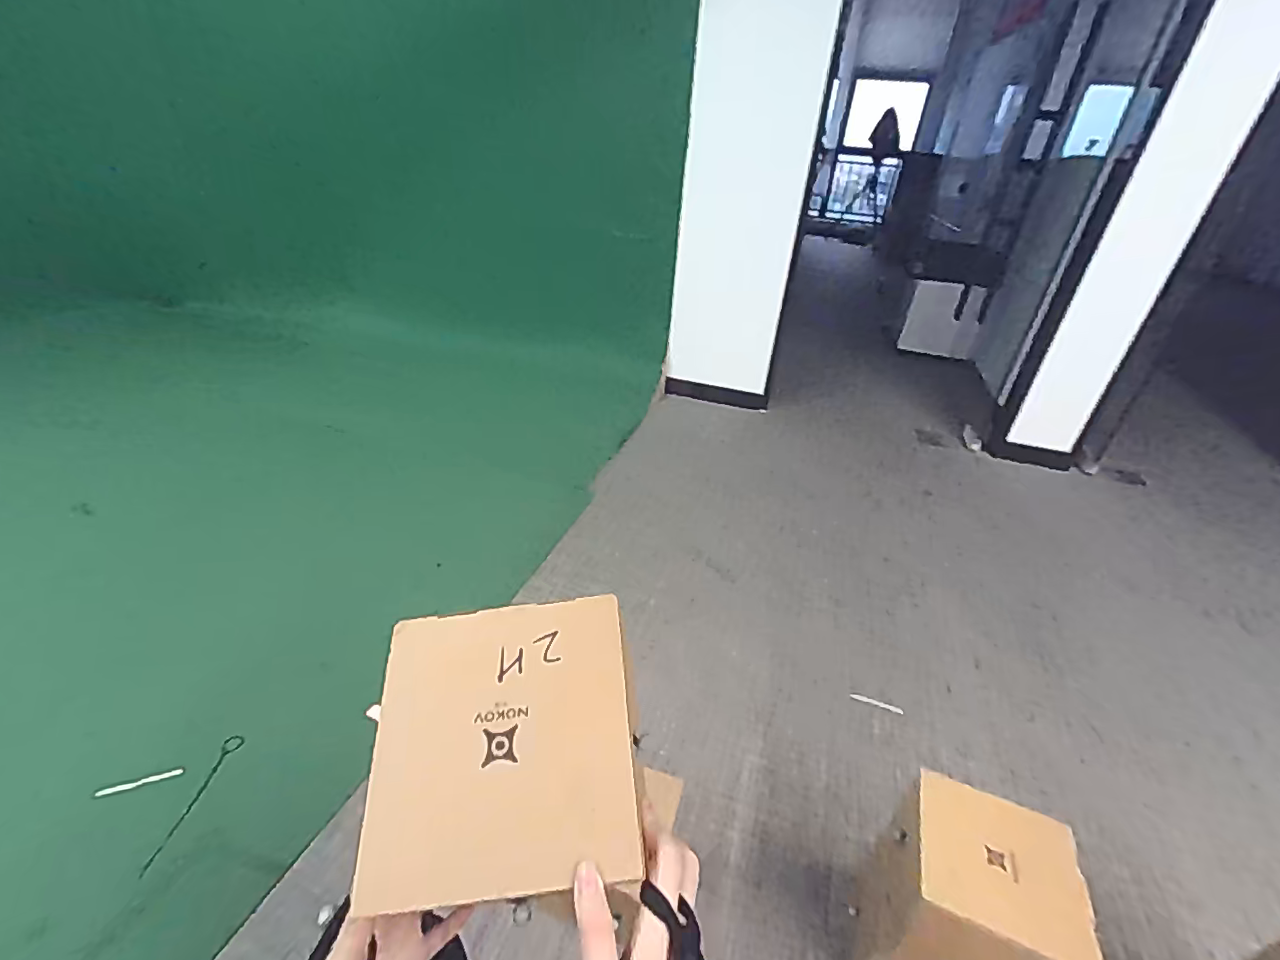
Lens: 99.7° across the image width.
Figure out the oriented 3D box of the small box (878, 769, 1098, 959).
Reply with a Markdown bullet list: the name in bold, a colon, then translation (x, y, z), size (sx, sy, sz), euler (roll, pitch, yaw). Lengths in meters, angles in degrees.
- **small box**: translation (0.406, 0.508, 0.666), size (0.179, 0.176, 0.168), euler (16, 33, 18)

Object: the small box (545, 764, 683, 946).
- **small box**: translation (-0.041, 0.563, 0.834), size (0.168, 0.176, 0.179), euler (14, 32, 13)

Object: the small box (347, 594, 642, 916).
- **small box**: translation (-0.091, 0.211, 0.419), size (0.168, 0.176, 0.179), euler (-7, 54, -2)
